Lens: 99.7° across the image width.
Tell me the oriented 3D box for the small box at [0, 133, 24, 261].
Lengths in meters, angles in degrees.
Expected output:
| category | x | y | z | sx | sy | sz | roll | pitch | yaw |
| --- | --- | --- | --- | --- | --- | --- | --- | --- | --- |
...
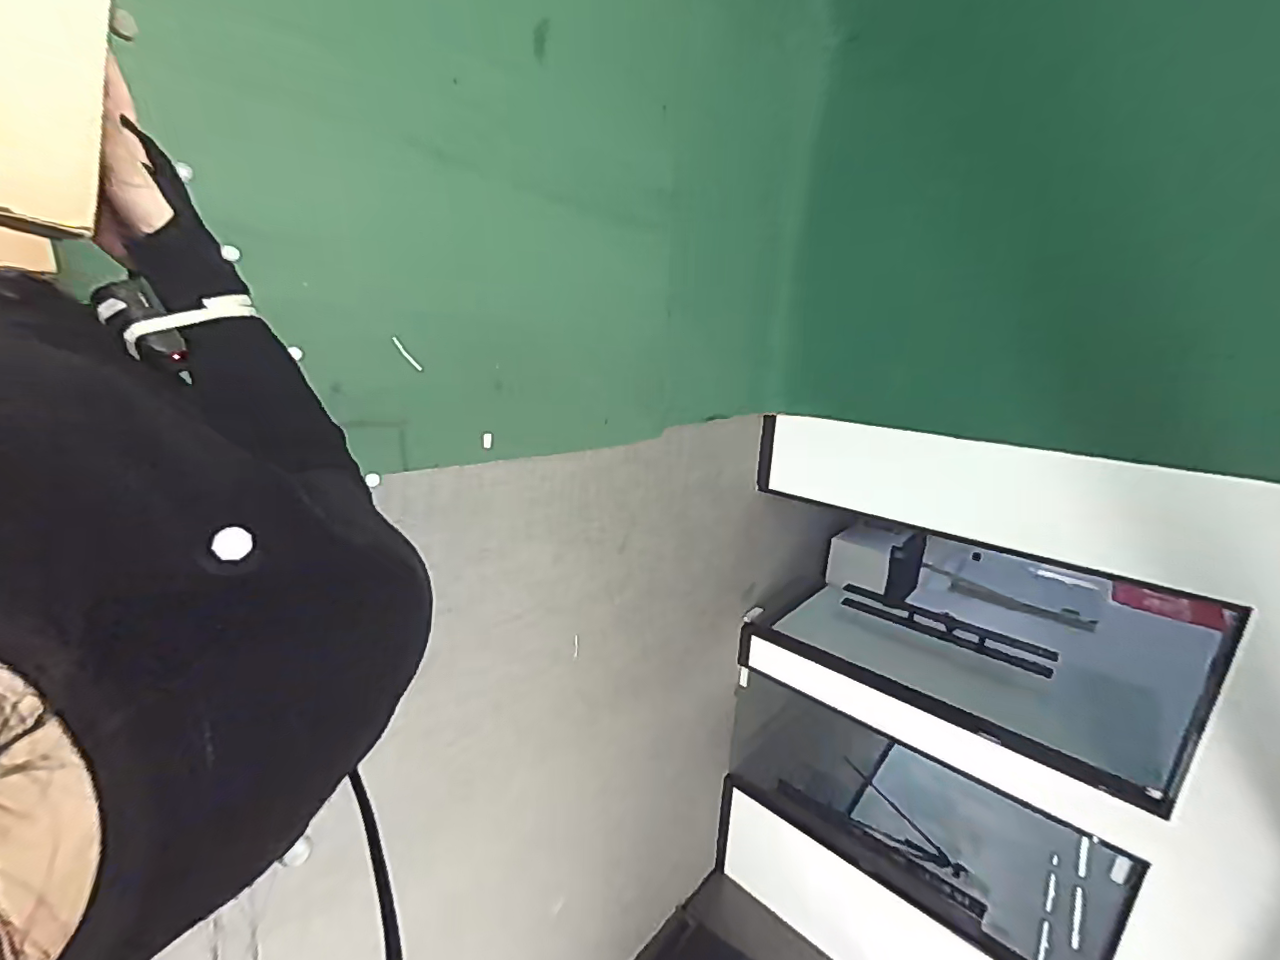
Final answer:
| category | x | y | z | sx | sy | sz | roll | pitch | yaw |
| --- | --- | --- | --- | --- | --- | --- | --- | --- | --- |
| small box | -0.981 | -0.403 | 0.731 | 0.168 | 0.176 | 0.179 | -14 | 113 | -49 |
